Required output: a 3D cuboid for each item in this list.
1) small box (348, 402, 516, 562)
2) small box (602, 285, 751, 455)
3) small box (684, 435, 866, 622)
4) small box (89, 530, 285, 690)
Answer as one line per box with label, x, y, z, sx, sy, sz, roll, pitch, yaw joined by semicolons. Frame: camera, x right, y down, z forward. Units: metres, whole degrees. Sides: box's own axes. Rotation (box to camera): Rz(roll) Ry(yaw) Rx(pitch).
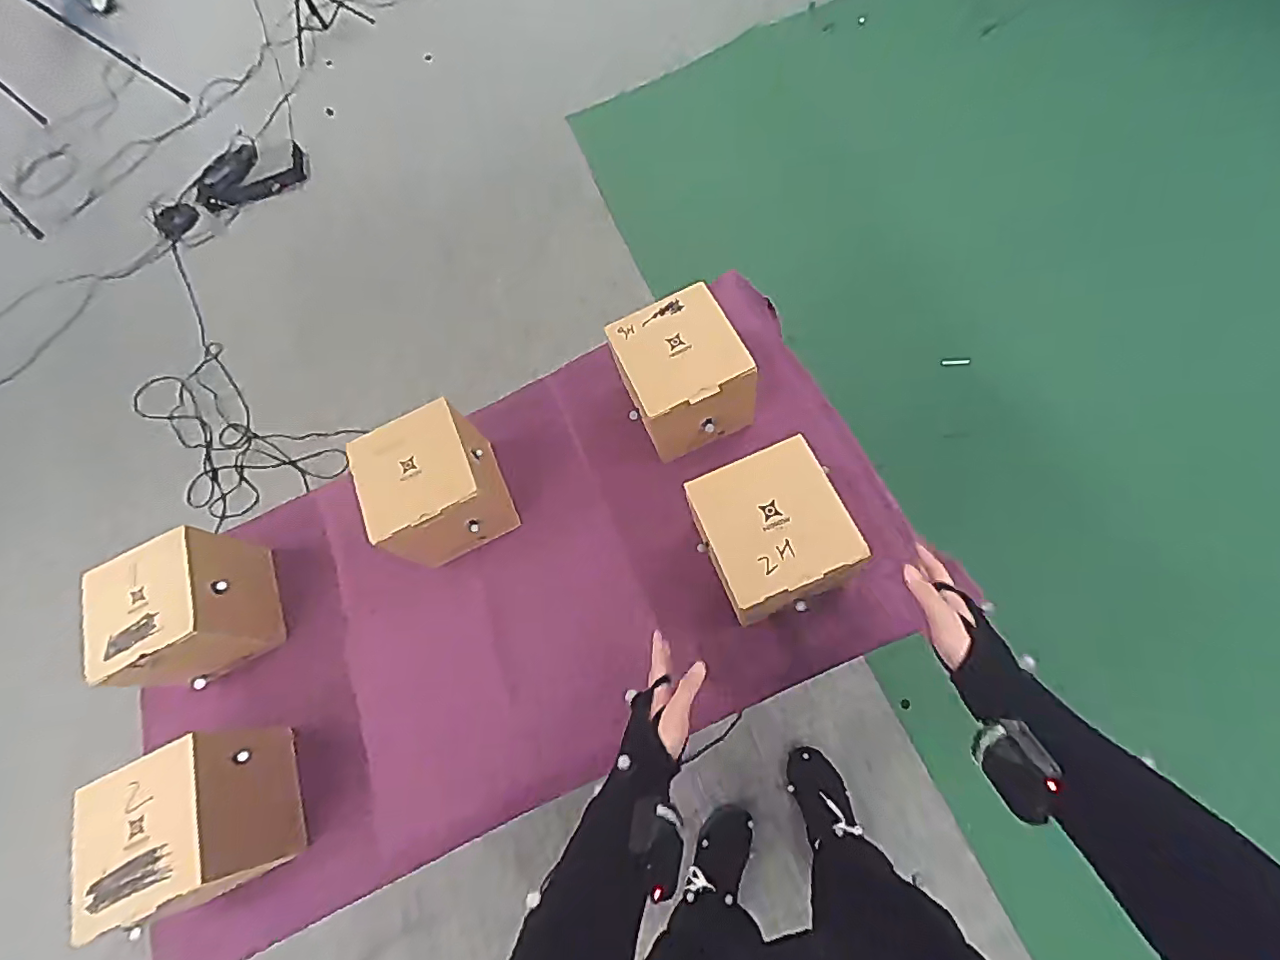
small box;-0.316;0.015;0.849;0.168;0.176;0.179;-26;67;-1
small box;0.062;-0.158;0.843;0.168;0.176;0.179;-26;68;0
small box;0.172;0.074;0.729;0.168;0.176;0.179;-24;66;2
small box;-0.694;0.207;0.843;0.168;0.176;0.179;-27;66;-1
